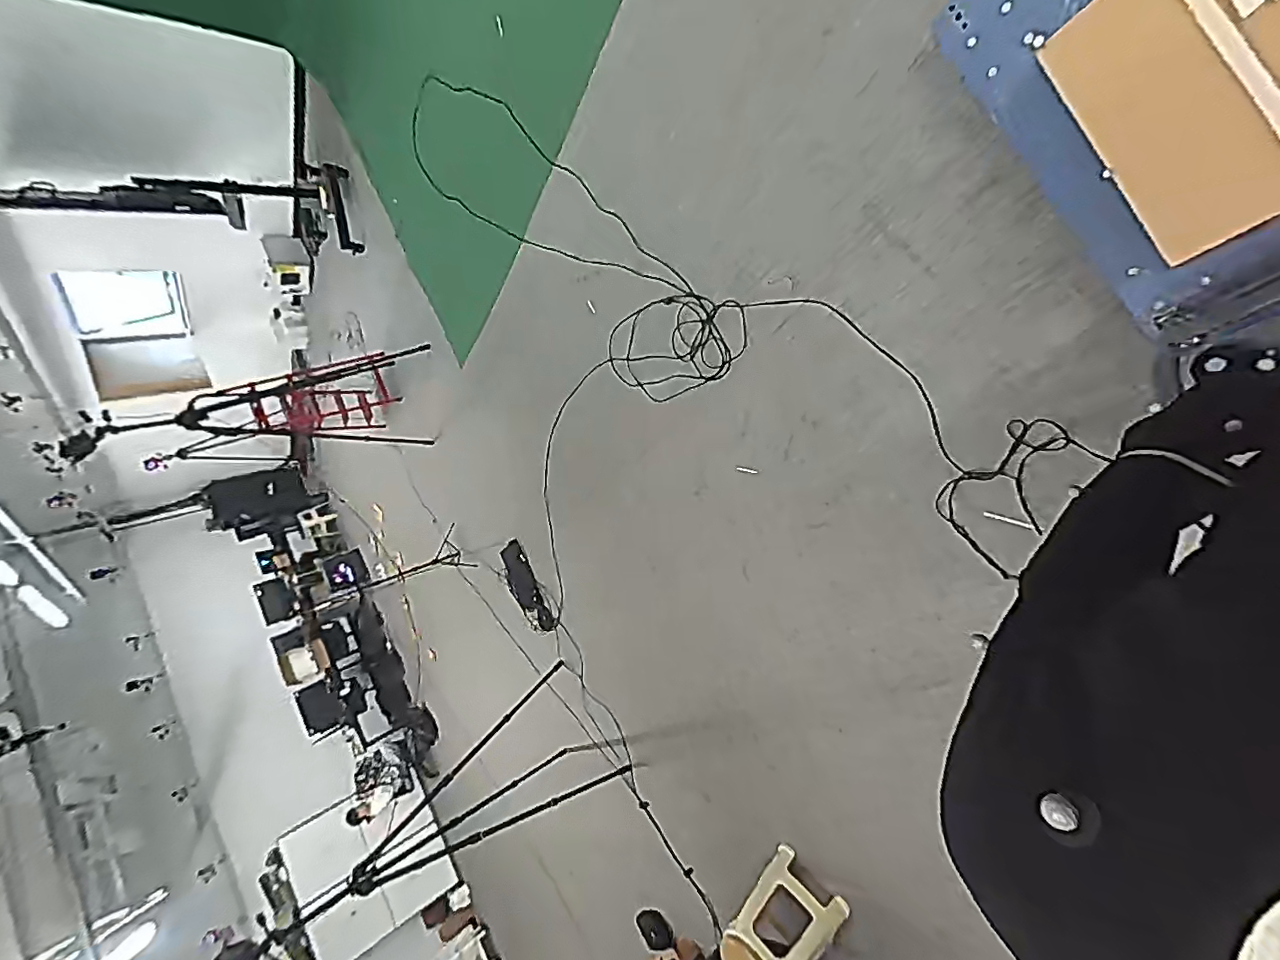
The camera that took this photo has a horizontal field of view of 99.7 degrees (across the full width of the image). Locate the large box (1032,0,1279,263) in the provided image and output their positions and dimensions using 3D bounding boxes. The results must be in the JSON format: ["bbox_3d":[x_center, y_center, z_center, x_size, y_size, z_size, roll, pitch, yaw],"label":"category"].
[{"bbox_3d":[0.890,-0.592,0.806,0.320,0.320,0.408,-32,82,49],"label":"large box"}]
